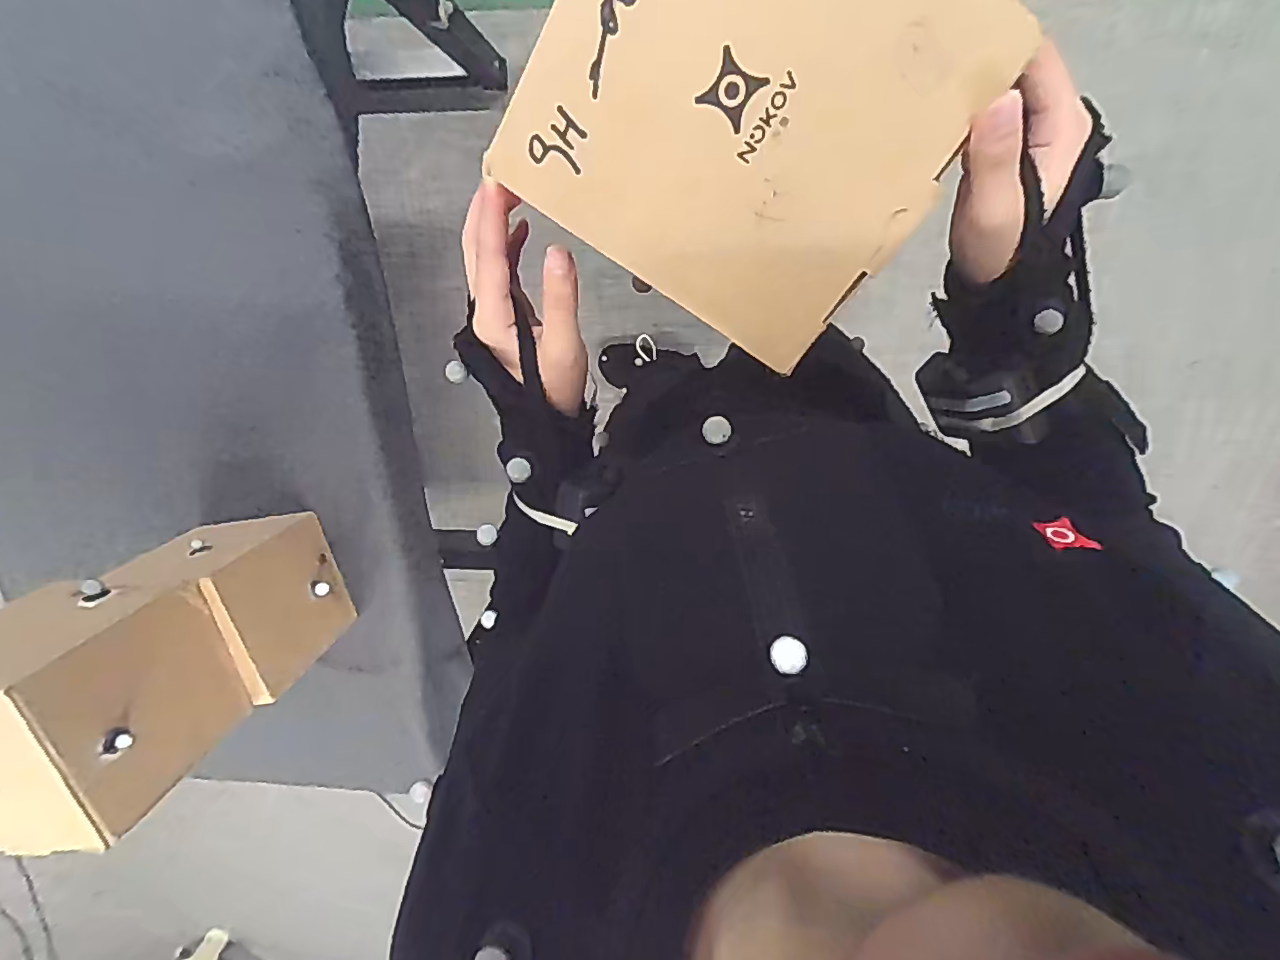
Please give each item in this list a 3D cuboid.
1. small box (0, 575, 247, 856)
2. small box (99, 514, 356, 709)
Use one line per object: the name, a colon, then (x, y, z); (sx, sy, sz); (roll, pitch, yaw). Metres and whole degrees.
small box: (-0.519, 0.209, 0.503); (0.168, 0.176, 0.179); (-5, 109, 5)
small box: (-0.490, 0.155, 0.655); (0.179, 0.176, 0.168); (-8, 110, 8)
